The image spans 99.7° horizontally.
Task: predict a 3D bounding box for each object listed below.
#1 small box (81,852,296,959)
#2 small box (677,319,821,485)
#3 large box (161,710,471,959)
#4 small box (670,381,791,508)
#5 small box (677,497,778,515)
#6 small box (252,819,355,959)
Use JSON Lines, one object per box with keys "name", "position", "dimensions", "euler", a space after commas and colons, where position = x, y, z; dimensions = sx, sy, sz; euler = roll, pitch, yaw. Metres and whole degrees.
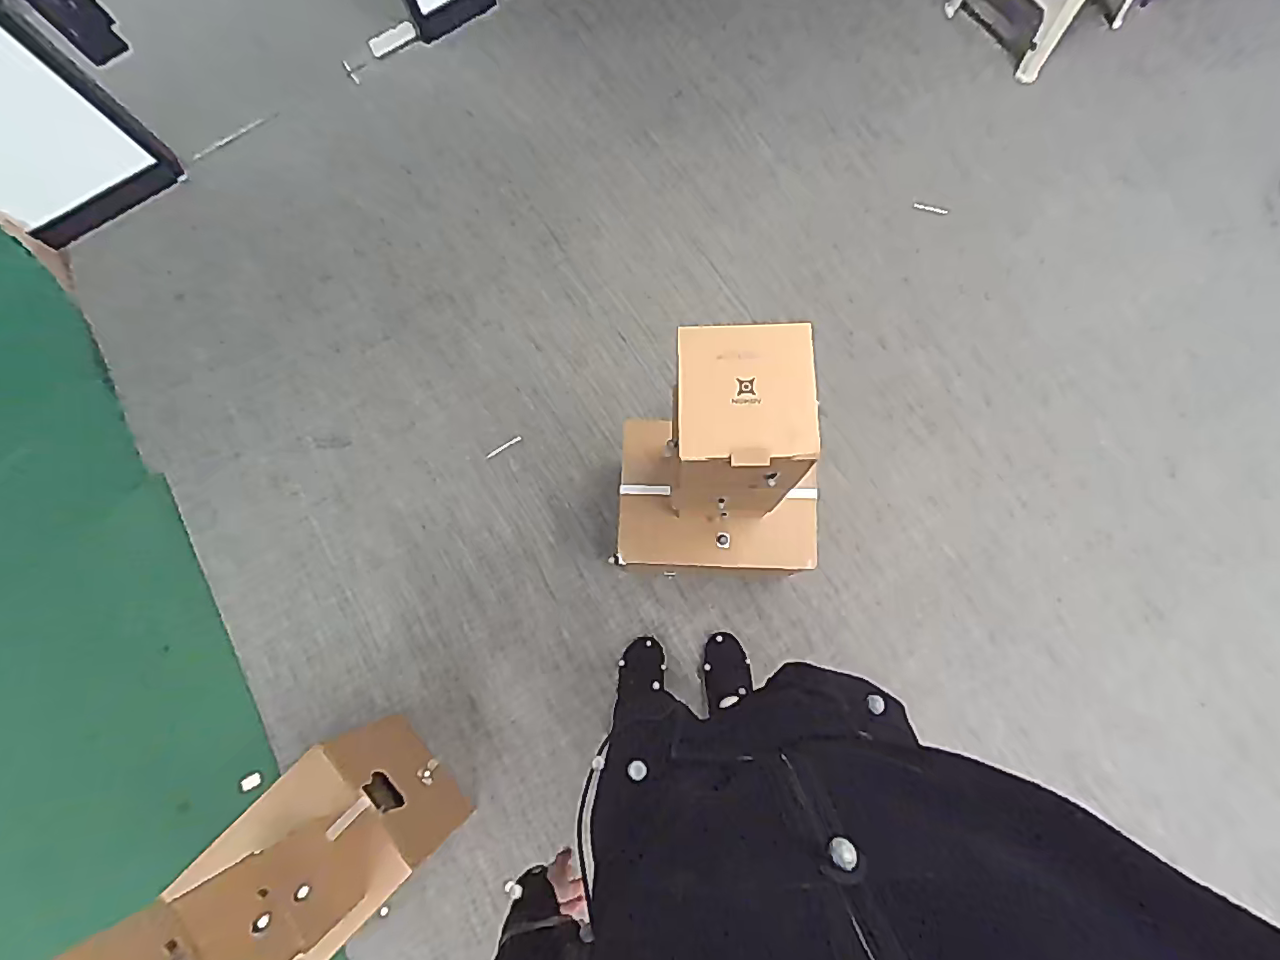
{"name": "small box", "position": [-0.639, 0.679, 0.757], "dimensions": [0.179, 0.176, 0.168], "euler": [-38, 77, -6]}
{"name": "small box", "position": [0.134, -0.093, 0.721], "dimensions": [0.168, 0.176, 0.179], "euler": [0, 76, 3]}
{"name": "large box", "position": [-0.651, 0.777, 1.155], "dimensions": [0.320, 0.320, 0.408], "euler": [44, 84, 13]}
{"name": "small box", "position": [0.140, -0.051, 0.878], "dimensions": [0.179, 0.176, 0.168], "euler": [2, 76, 5]}
{"name": "small box", "position": [0.159, -0.028, 1.041], "dimensions": [0.179, 0.176, 0.168], "euler": [-2, 75, 3]}
{"name": "small box", "position": [-0.627, 0.724, 0.913], "dimensions": [0.168, 0.176, 0.179], "euler": [-39, 78, -6]}
